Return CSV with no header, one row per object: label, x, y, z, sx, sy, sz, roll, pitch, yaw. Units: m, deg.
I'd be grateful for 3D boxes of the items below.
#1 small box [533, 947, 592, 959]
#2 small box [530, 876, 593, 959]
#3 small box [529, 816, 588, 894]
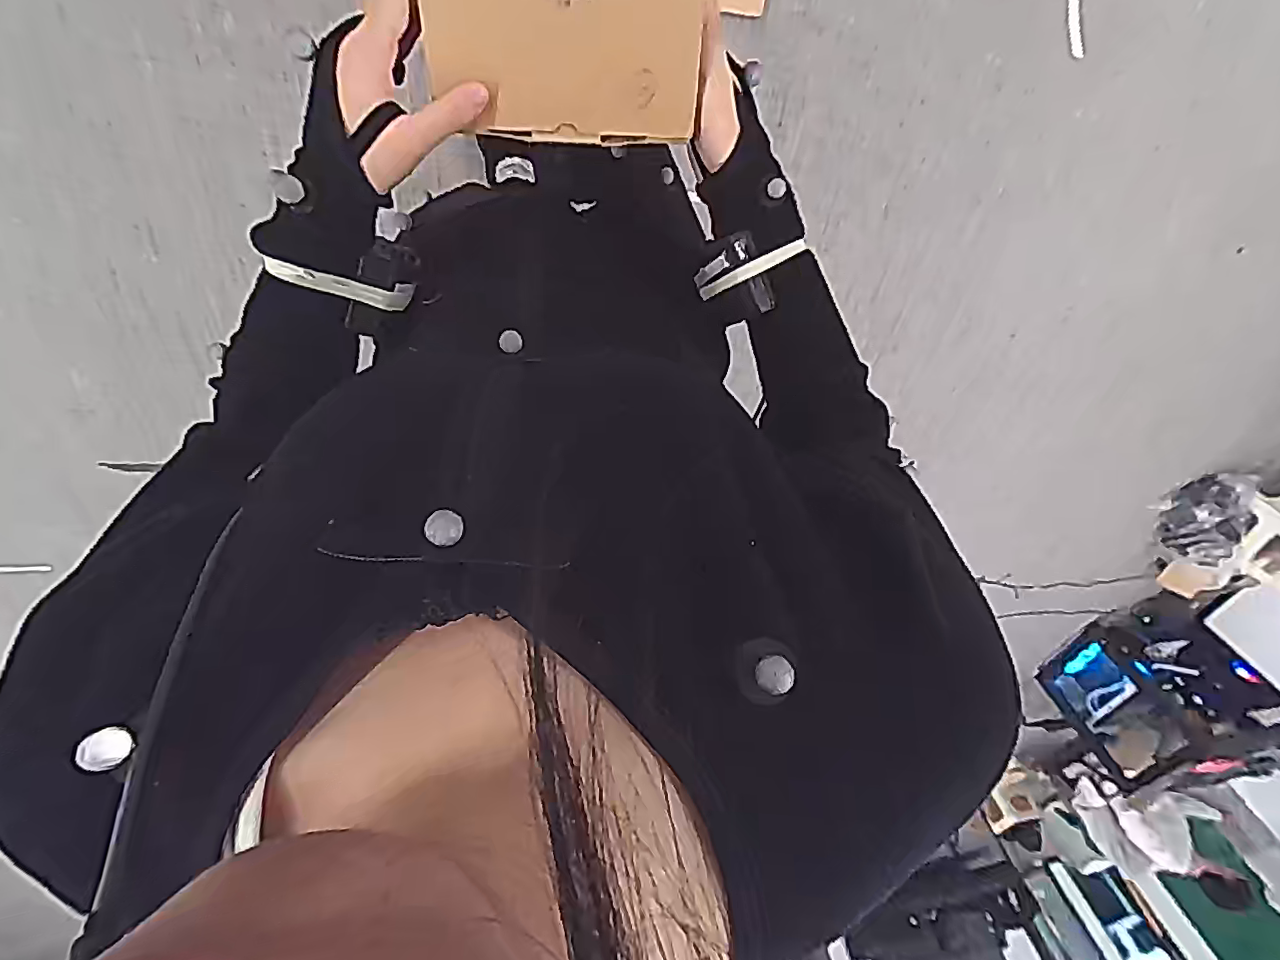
small box,-0.212,1.403,1.472,0.168,0.176,0.179,1,129,-14
small box,-0.237,1.298,1.596,0.168,0.176,0.179,1,131,-14
small box,-0.265,1.188,1.714,0.168,0.176,0.179,1,130,-14
